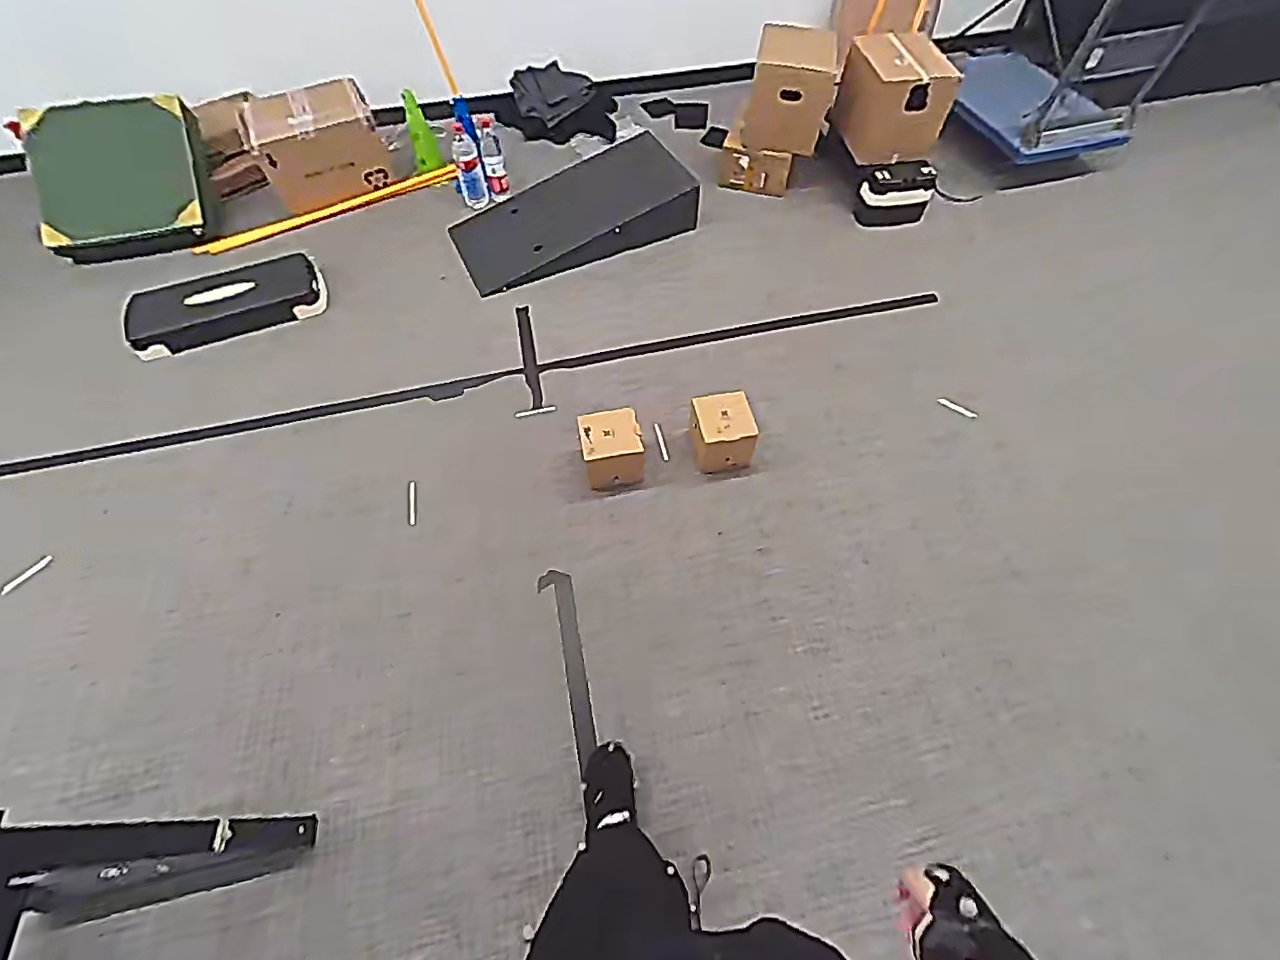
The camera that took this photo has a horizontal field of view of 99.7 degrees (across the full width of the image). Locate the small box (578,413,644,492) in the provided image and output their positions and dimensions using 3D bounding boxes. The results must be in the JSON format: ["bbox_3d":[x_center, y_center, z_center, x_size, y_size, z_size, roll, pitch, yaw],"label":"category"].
[{"bbox_3d":[-0.090,-0.080,1.651,0.179,0.176,0.168,-9,58,-6],"label":"small box"}]

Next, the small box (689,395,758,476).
[{"bbox_3d":[0.252,-0.137,1.683,0.168,0.176,0.179,-10,59,-5],"label":"small box"}]
